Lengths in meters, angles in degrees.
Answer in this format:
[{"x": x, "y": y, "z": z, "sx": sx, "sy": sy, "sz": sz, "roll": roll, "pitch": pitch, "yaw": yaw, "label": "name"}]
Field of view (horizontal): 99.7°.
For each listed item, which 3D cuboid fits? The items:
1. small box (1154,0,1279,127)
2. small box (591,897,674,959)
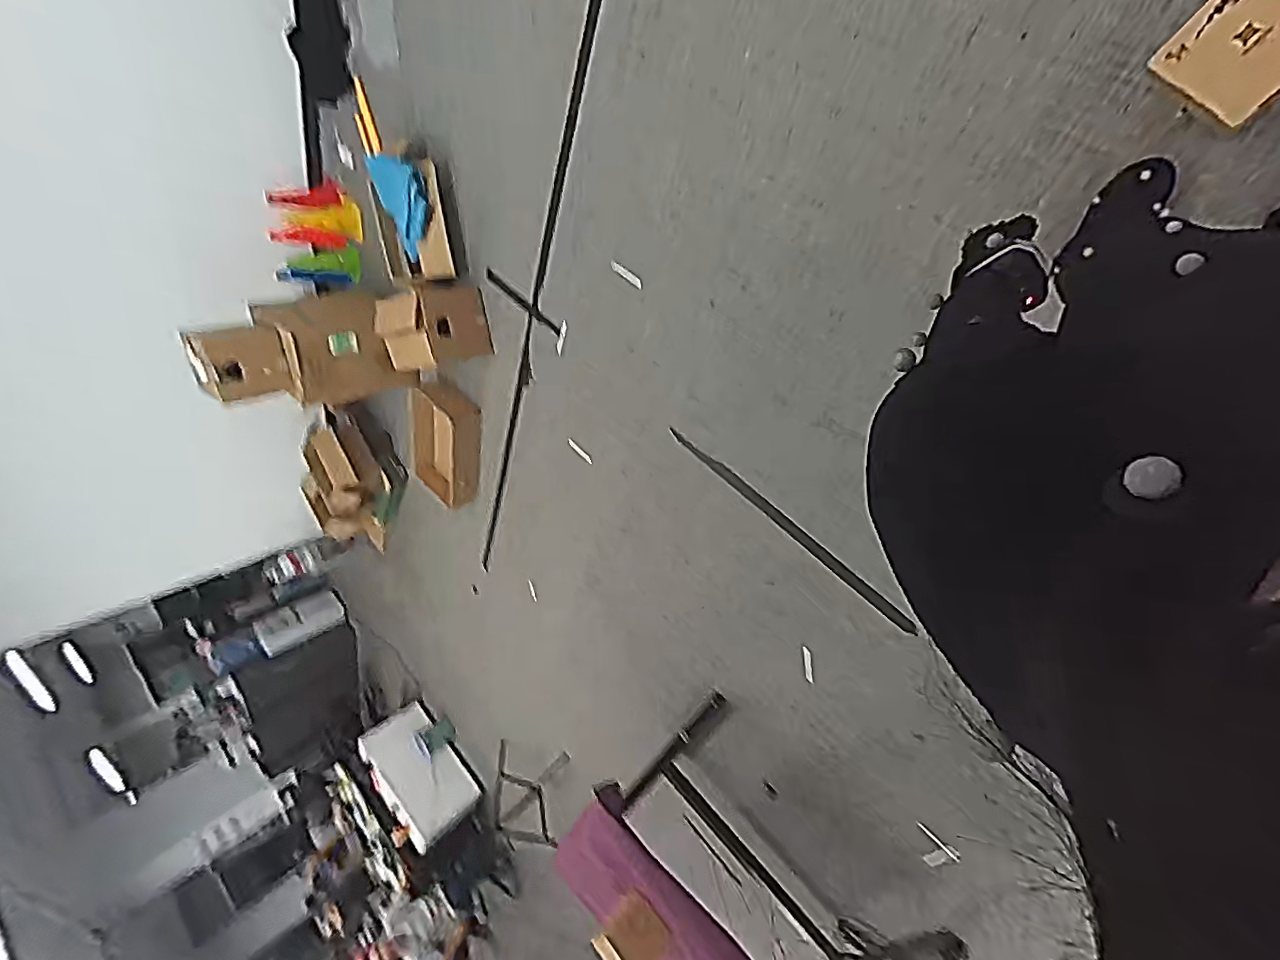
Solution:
[{"x": 0.966, "y": -0.686, "z": 0.847, "sx": 0.179, "sy": 0.176, "sz": 0.168, "roll": 52, "pitch": 136, "yaw": 13, "label": "small box"}, {"x": -0.024, "y": 1.488, "z": 1.743, "sx": 0.179, "sy": 0.176, "sz": 0.168, "roll": 43, "pitch": 135, "yaw": 18, "label": "small box"}]
